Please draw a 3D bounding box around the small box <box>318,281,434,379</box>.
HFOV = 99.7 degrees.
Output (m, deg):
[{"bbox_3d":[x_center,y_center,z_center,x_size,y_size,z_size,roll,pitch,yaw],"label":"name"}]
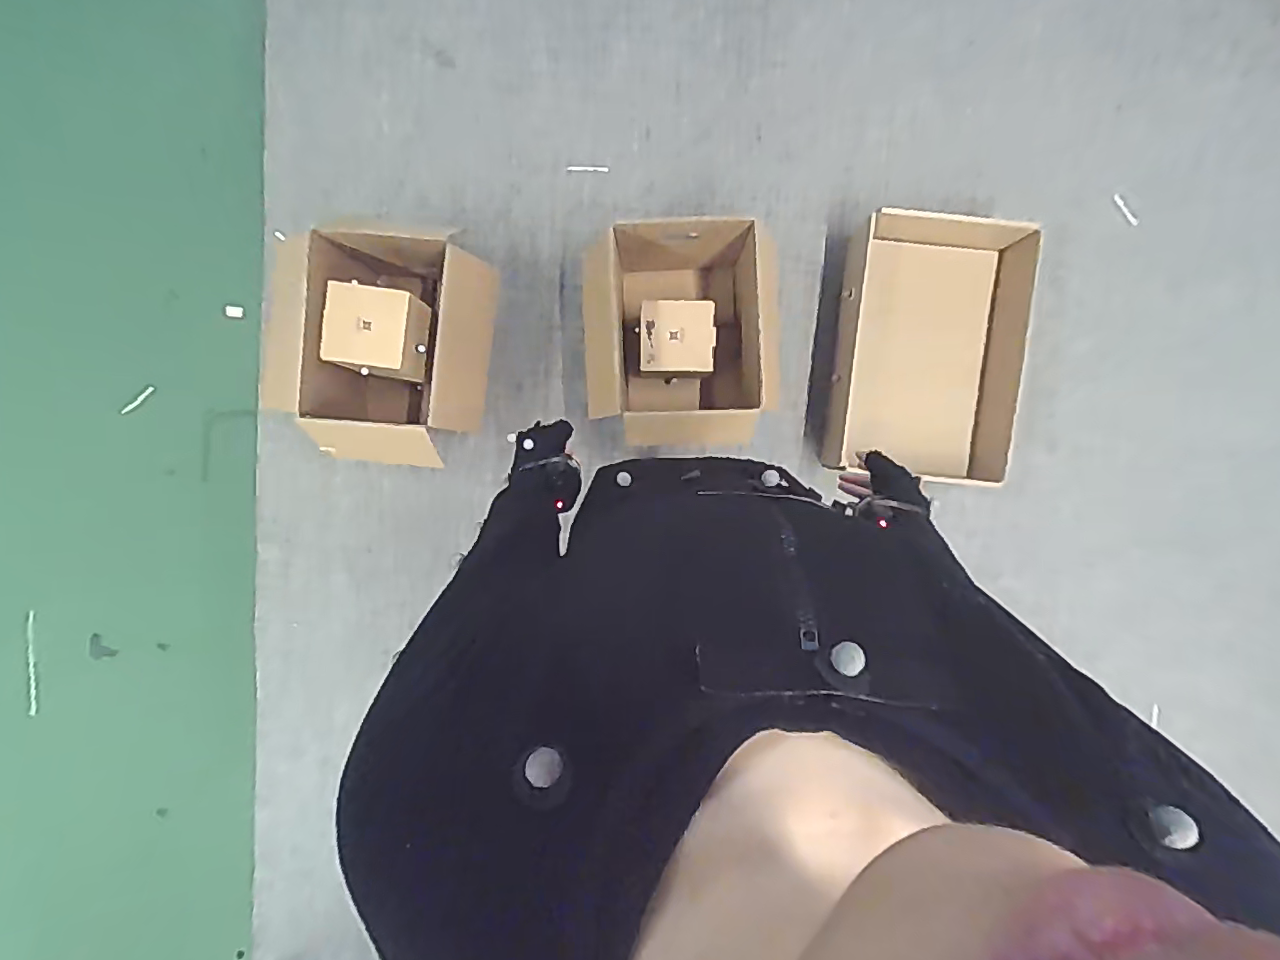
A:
[{"bbox_3d":[-0.579,-0.326,1.207,0.179,0.176,0.168,7,92,0],"label":"small box"}]
